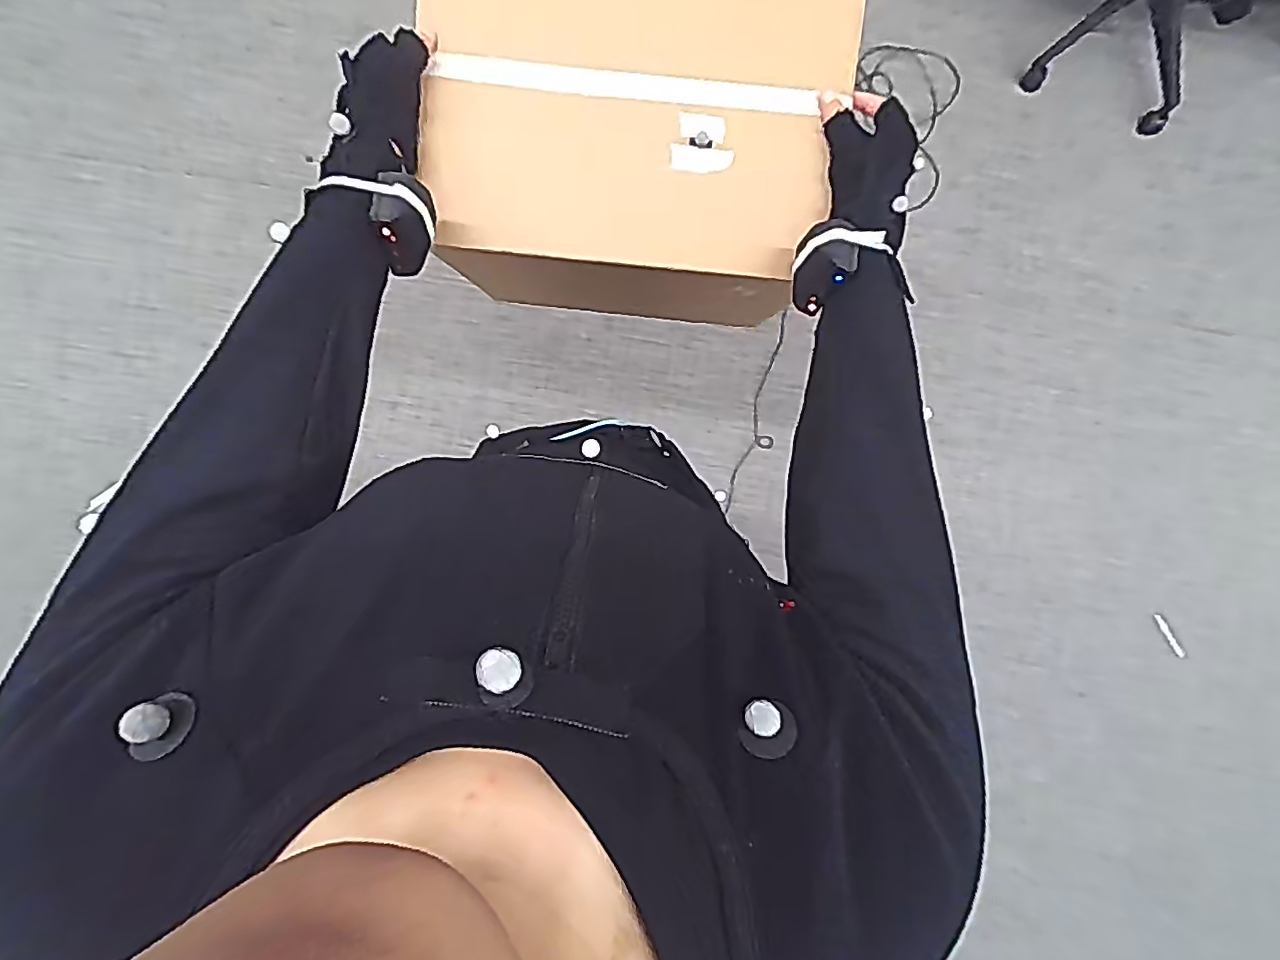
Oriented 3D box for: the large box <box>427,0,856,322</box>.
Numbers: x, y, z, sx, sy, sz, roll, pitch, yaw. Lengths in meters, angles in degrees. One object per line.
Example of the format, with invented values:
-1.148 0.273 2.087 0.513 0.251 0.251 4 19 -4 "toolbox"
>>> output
-0.006 -0.387 0.664 0.408 0.320 0.320 5 98 -2 "large box"
